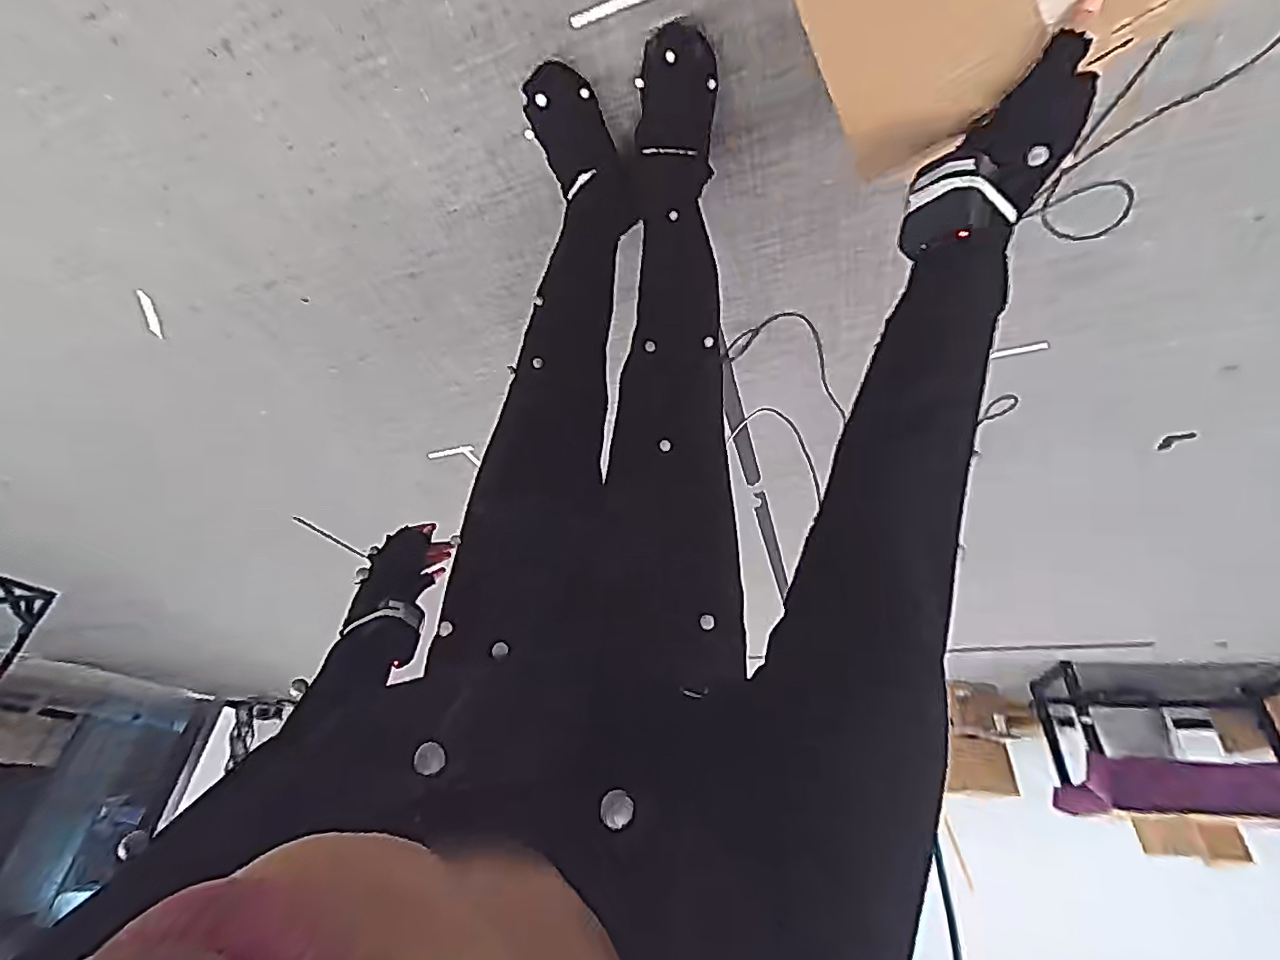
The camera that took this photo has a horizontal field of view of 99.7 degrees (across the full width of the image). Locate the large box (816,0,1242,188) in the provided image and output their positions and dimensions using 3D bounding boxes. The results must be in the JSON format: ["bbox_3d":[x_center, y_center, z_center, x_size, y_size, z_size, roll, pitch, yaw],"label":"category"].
[{"bbox_3d":[0.329,-0.552,0.493,0.320,0.320,0.408,-18,107,39],"label":"large box"}]
